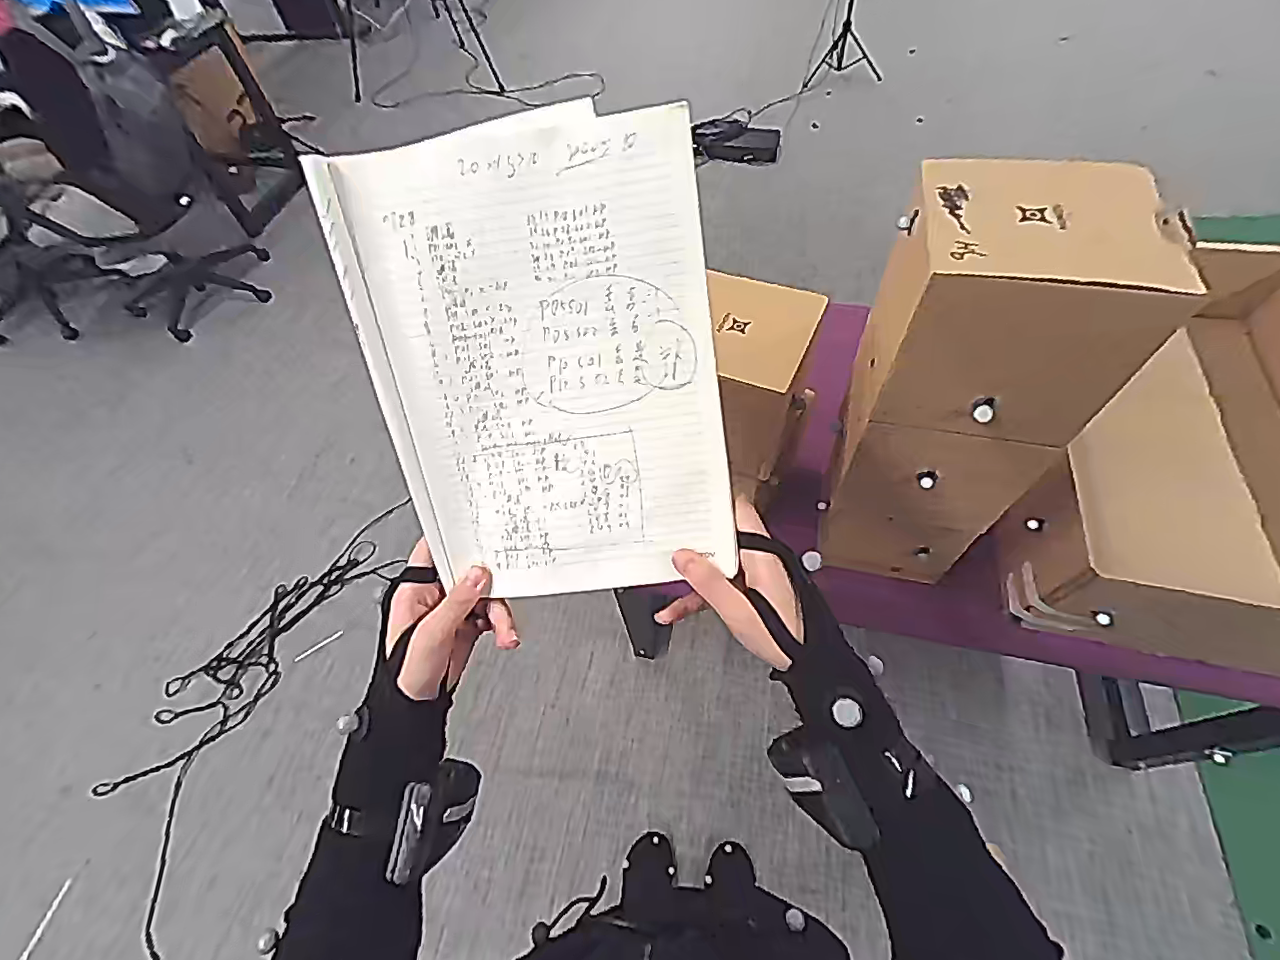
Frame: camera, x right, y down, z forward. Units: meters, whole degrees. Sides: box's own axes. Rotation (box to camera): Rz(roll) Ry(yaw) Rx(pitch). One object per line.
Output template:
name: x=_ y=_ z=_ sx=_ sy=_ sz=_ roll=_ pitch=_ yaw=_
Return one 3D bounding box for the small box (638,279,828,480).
small box: x=0.117 y=-0.122 z=0.690 sx=0.179 sy=0.176 sz=0.168 roll=19 pitch=60 yaw=19

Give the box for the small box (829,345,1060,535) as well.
small box: x=0.329 y=-0.054 z=0.620 sx=0.179 sy=0.176 sz=0.168 roll=9 pitch=56 yaw=12

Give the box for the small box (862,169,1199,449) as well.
small box: x=0.316 y=-0.147 z=0.485 sx=0.179 sy=0.176 sz=0.168 roll=10 pitch=56 yaw=11
